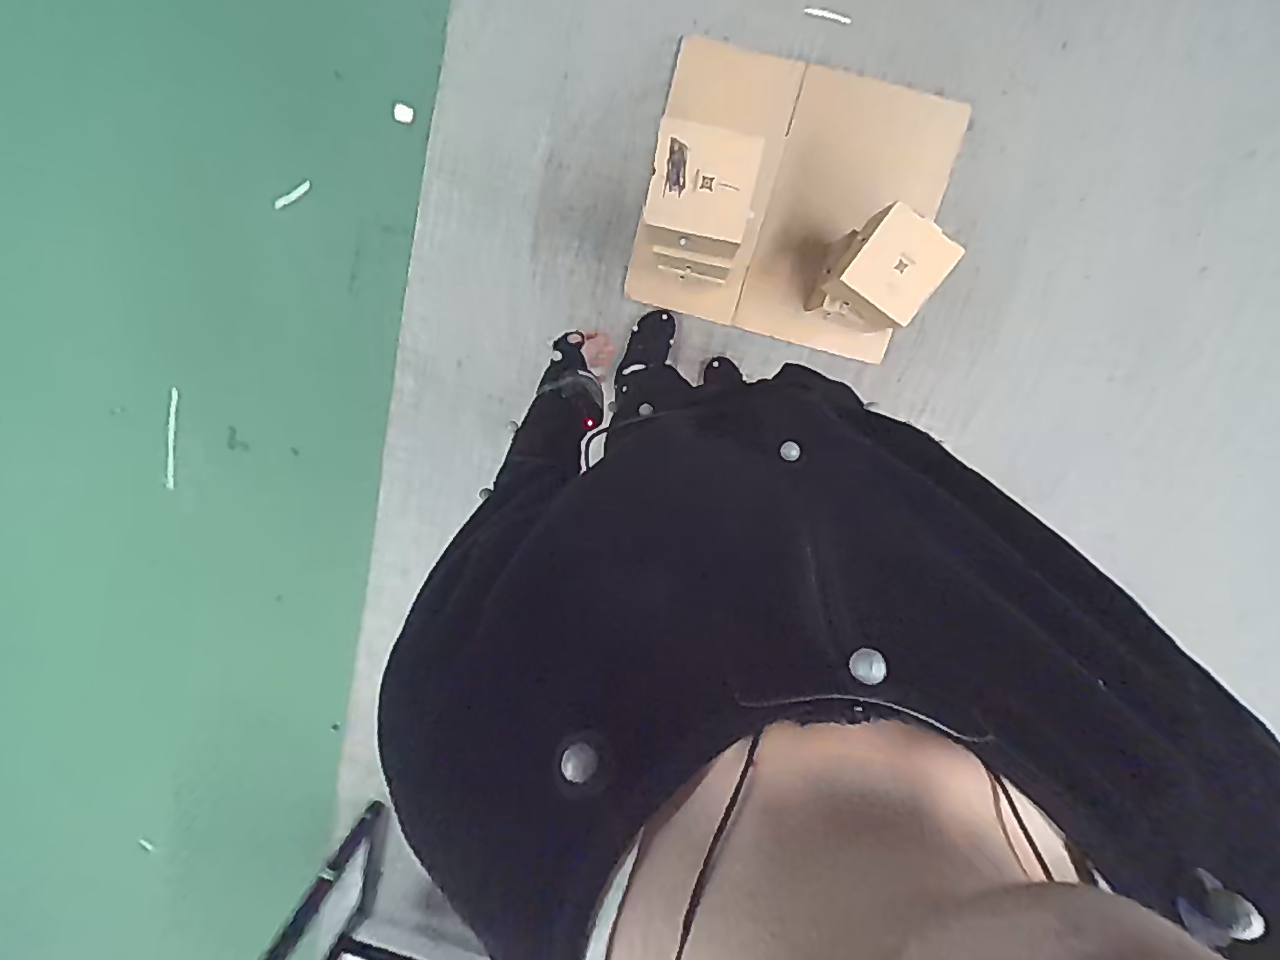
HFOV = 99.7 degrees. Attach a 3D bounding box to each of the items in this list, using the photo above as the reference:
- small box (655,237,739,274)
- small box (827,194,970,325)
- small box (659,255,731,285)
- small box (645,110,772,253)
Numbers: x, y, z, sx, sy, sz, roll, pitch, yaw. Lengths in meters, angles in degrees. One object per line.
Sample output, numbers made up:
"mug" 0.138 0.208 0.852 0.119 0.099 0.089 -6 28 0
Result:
"small box" 0.134 -0.538 1.116 0.168 0.176 0.179 14 104 1
"small box" 0.512 -0.438 1.105 0.168 0.176 0.179 35 104 -5
"small box" 0.149 -0.571 1.277 0.168 0.176 0.179 14 104 1
"small box" 0.115 -0.513 0.954 0.179 0.176 0.168 13 104 1
